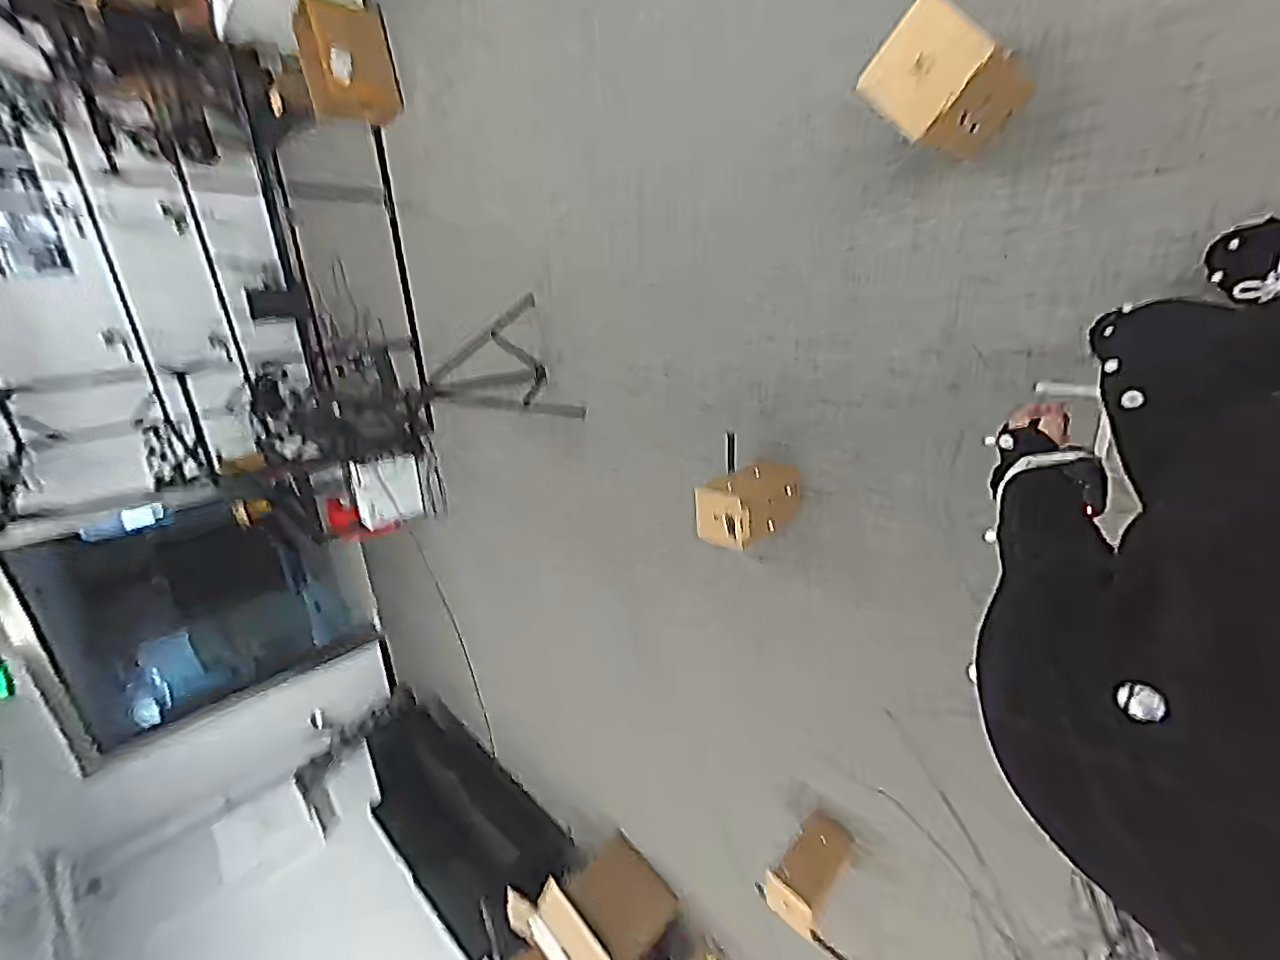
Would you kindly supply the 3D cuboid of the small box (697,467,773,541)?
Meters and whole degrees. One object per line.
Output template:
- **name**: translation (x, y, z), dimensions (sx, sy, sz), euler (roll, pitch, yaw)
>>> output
- **small box**: translation (0.296, 0.066, 1.665), dimensions (0.179, 0.176, 0.168), euler (14, 116, 44)

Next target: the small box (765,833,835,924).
- **small box**: translation (0.577, 1.428, 1.956), dimensions (0.179, 0.176, 0.168), euler (22, 123, 39)

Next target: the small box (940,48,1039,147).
- **small box**: translation (0.673, -0.822, 1.116), dimensions (0.179, 0.176, 0.168), euler (57, 138, 13)

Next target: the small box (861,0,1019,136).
- **small box**: translation (0.559, -0.777, 1.008), dimensions (0.179, 0.176, 0.168), euler (55, 137, 12)

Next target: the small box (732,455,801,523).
- **small box**: translation (0.413, 0.024, 1.774), dimensions (0.179, 0.176, 0.168), euler (13, 115, 45)
